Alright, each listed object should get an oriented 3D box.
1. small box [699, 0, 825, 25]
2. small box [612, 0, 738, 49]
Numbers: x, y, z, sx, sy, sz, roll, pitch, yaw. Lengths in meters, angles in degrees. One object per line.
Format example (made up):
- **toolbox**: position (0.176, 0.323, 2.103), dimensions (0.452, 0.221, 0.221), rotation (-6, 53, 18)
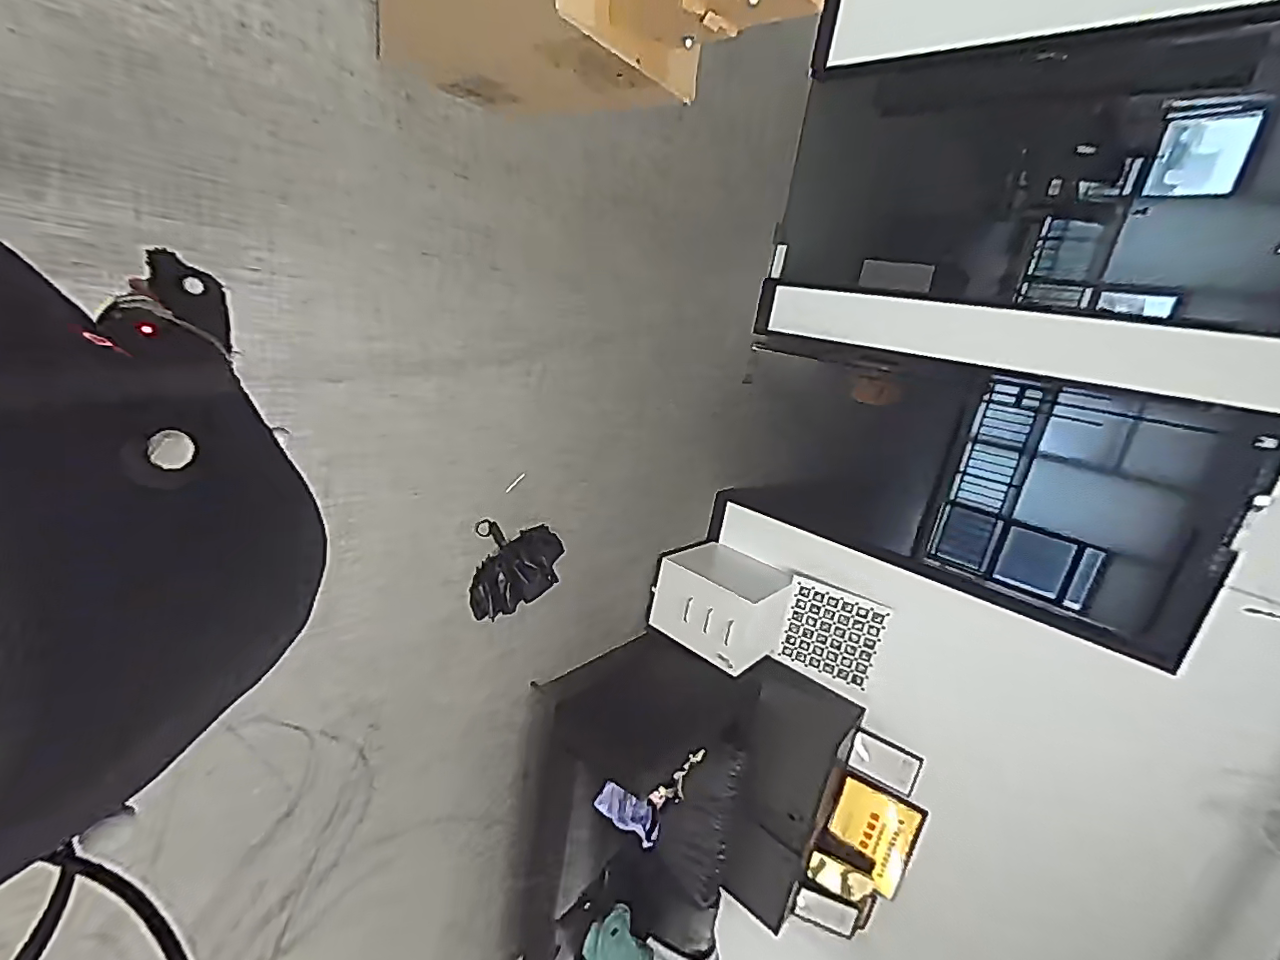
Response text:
- **small box**: position (0.185, -0.840, 0.831), dimensions (0.179, 0.176, 0.168), rotation (-17, 121, -45)
- **small box**: position (0.065, -0.882, 0.934), dimensions (0.168, 0.176, 0.179), rotation (-22, 123, -44)
